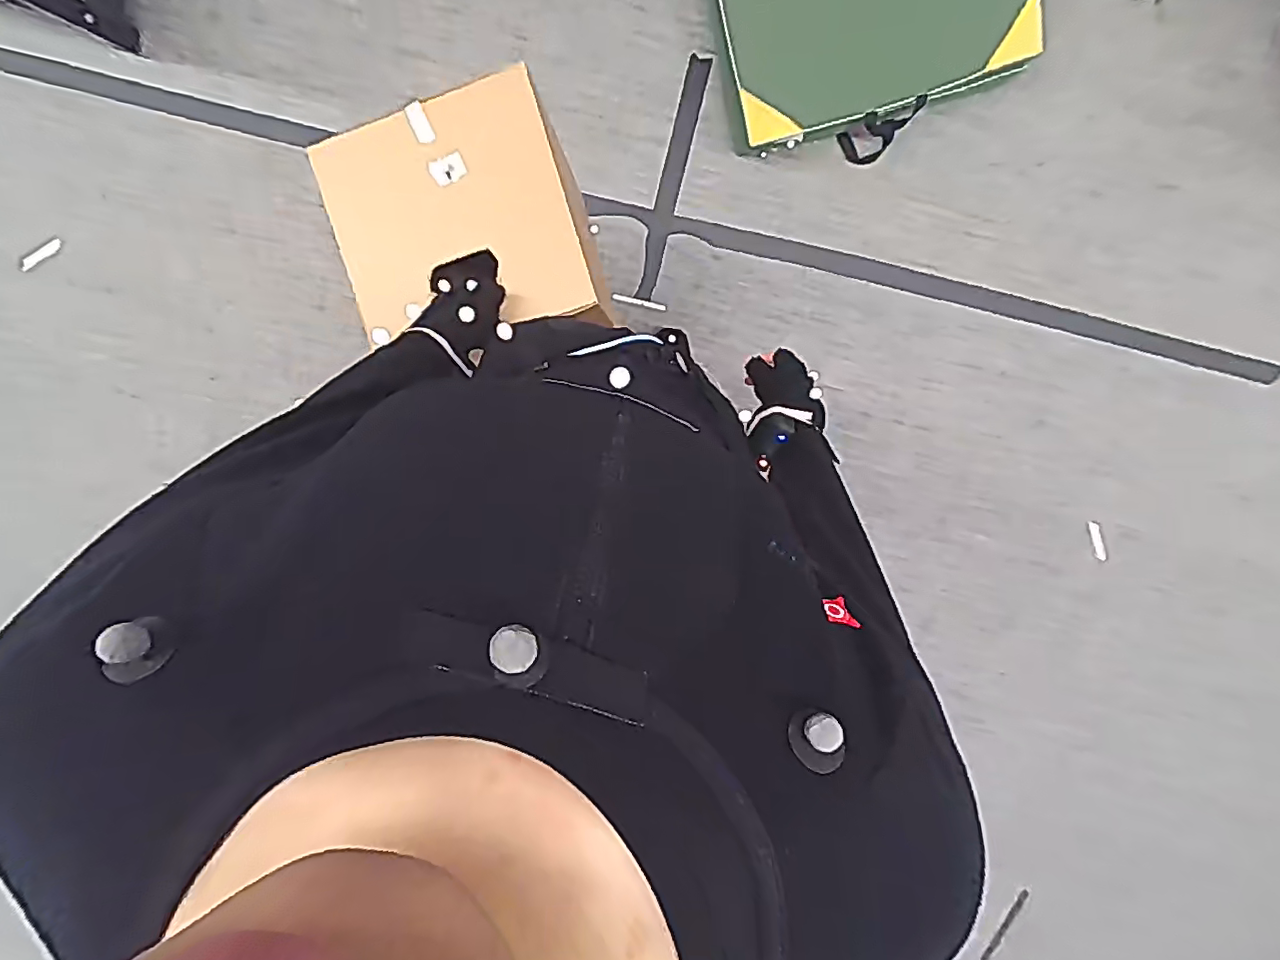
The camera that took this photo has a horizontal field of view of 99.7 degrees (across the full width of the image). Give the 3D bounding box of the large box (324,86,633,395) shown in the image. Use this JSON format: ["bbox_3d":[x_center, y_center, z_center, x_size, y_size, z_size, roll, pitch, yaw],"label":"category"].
[{"bbox_3d":[-0.222,-0.344,0.906,0.320,0.408,0.320,-16,95,6],"label":"large box"}]
